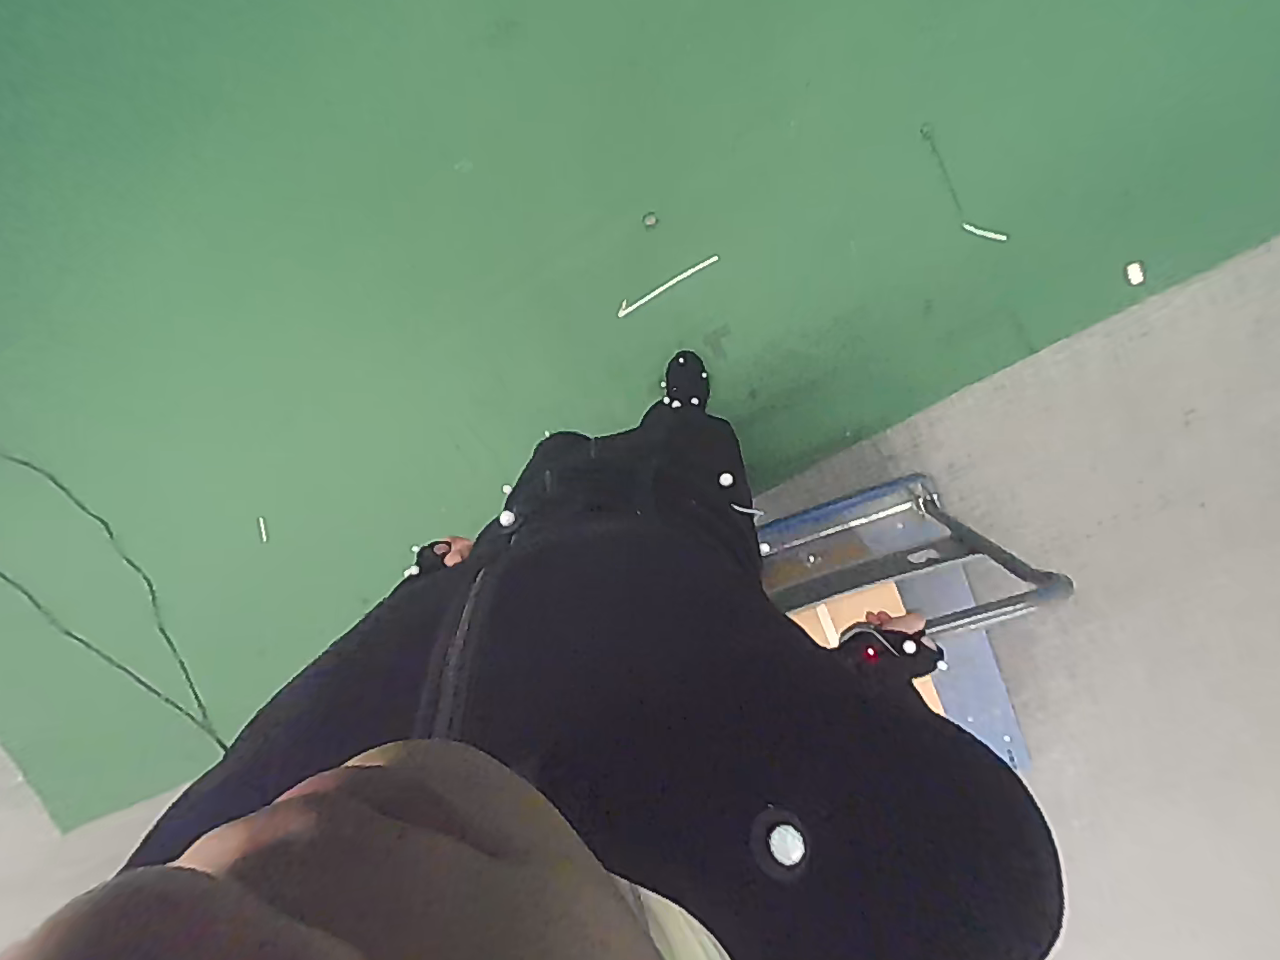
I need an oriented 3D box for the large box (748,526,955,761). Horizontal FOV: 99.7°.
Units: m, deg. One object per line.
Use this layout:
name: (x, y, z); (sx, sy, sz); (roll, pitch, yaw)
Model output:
large box: (0.489, 0.380, 1.326); (0.320, 0.320, 0.408); (-22, 98, 13)
